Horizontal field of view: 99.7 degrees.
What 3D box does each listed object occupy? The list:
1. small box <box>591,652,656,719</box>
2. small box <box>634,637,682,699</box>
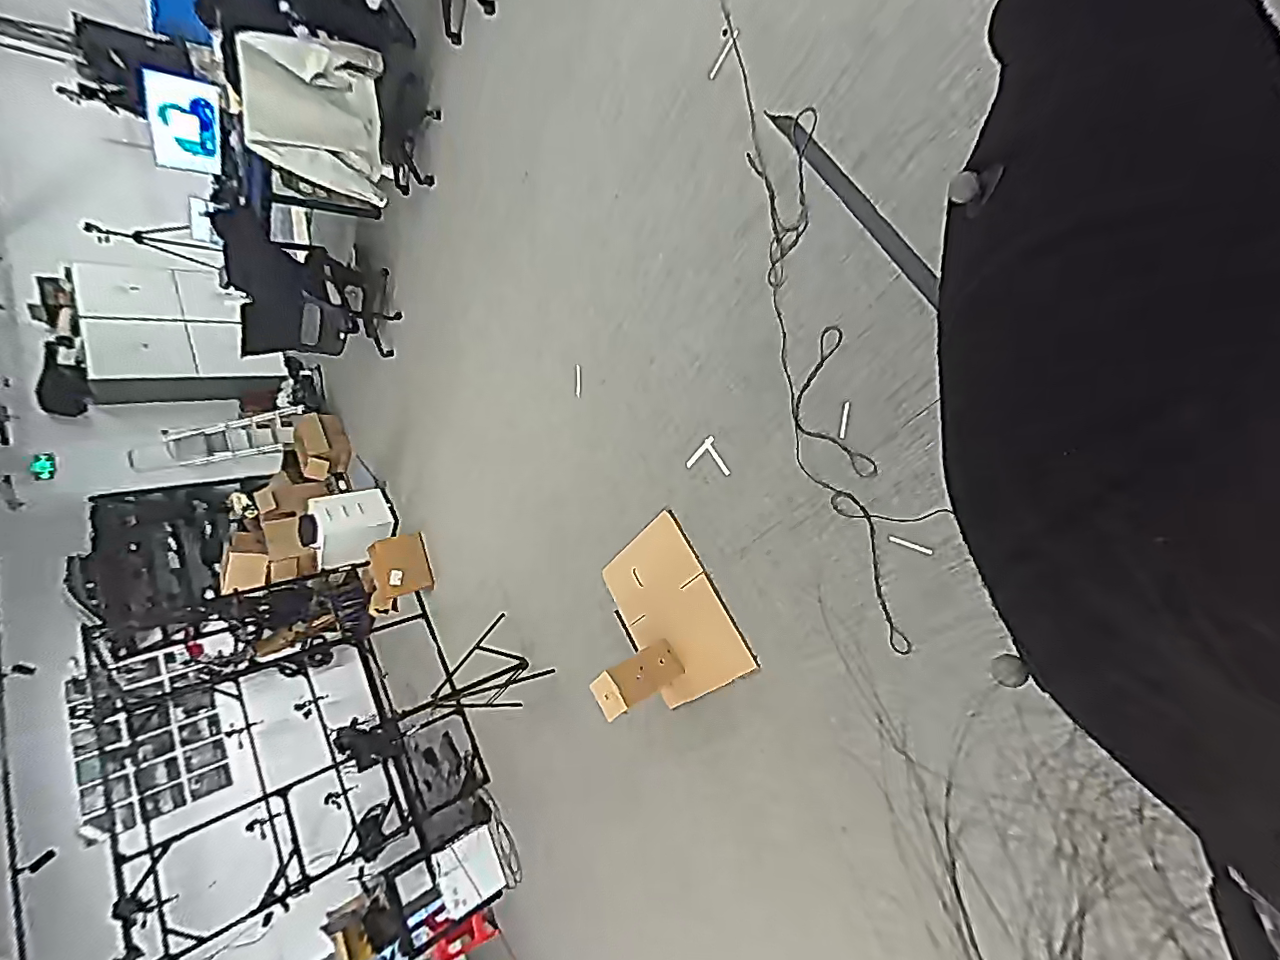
[{"bbox_3d":[-0.066,0.826,2.179,0.168,0.176,0.179,56,134,22],"label":"small box"},{"bbox_3d":[0.054,0.794,2.288,0.168,0.176,0.179,55,133,24],"label":"small box"}]
